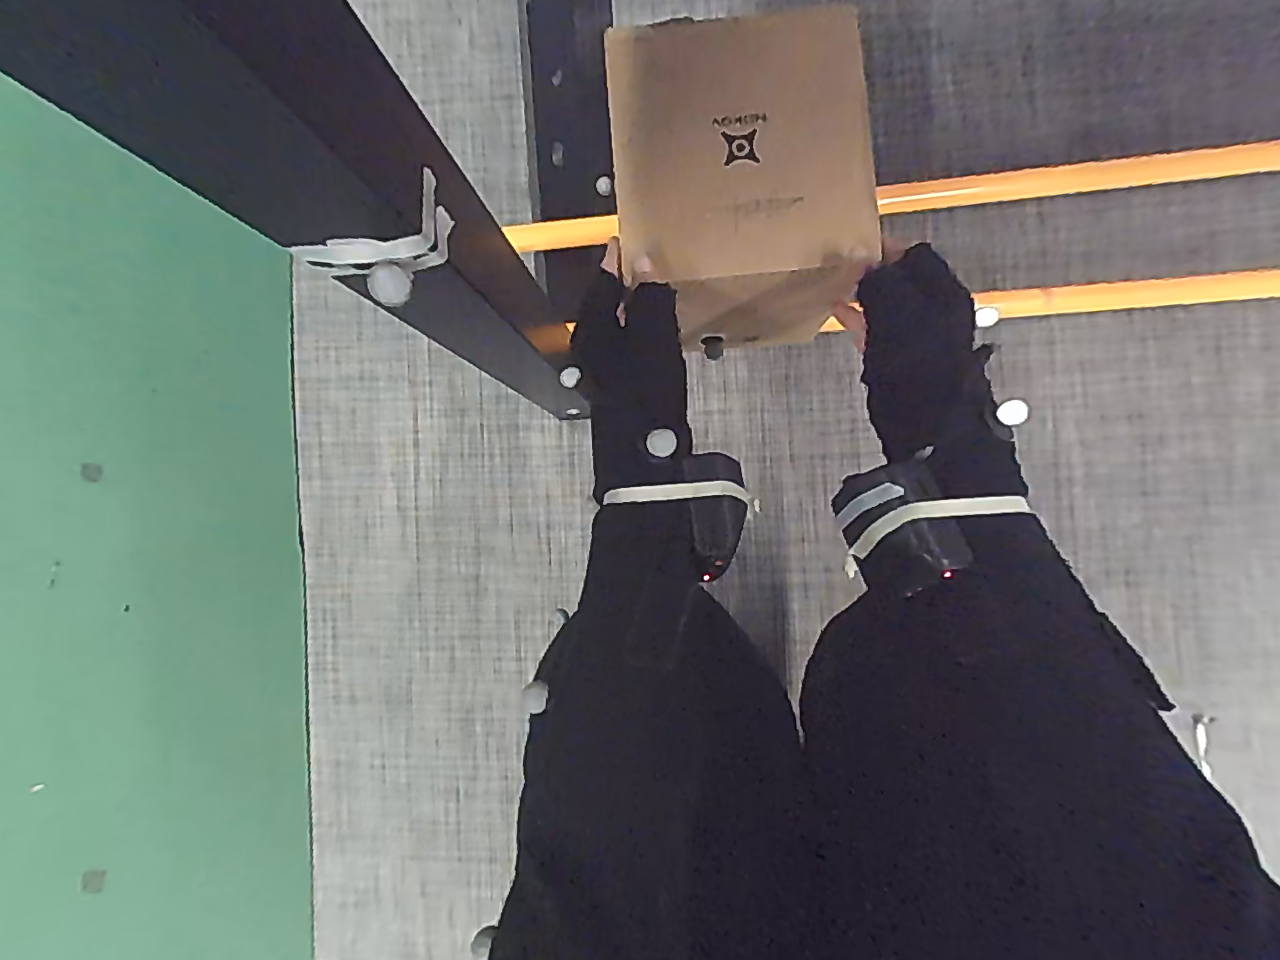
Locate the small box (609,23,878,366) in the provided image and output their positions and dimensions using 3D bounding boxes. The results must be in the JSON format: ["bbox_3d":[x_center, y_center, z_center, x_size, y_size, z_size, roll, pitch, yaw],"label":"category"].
[{"bbox_3d":[0.069,-0.204,0.433,0.168,0.176,0.179,-5,88,3],"label":"small box"}]
